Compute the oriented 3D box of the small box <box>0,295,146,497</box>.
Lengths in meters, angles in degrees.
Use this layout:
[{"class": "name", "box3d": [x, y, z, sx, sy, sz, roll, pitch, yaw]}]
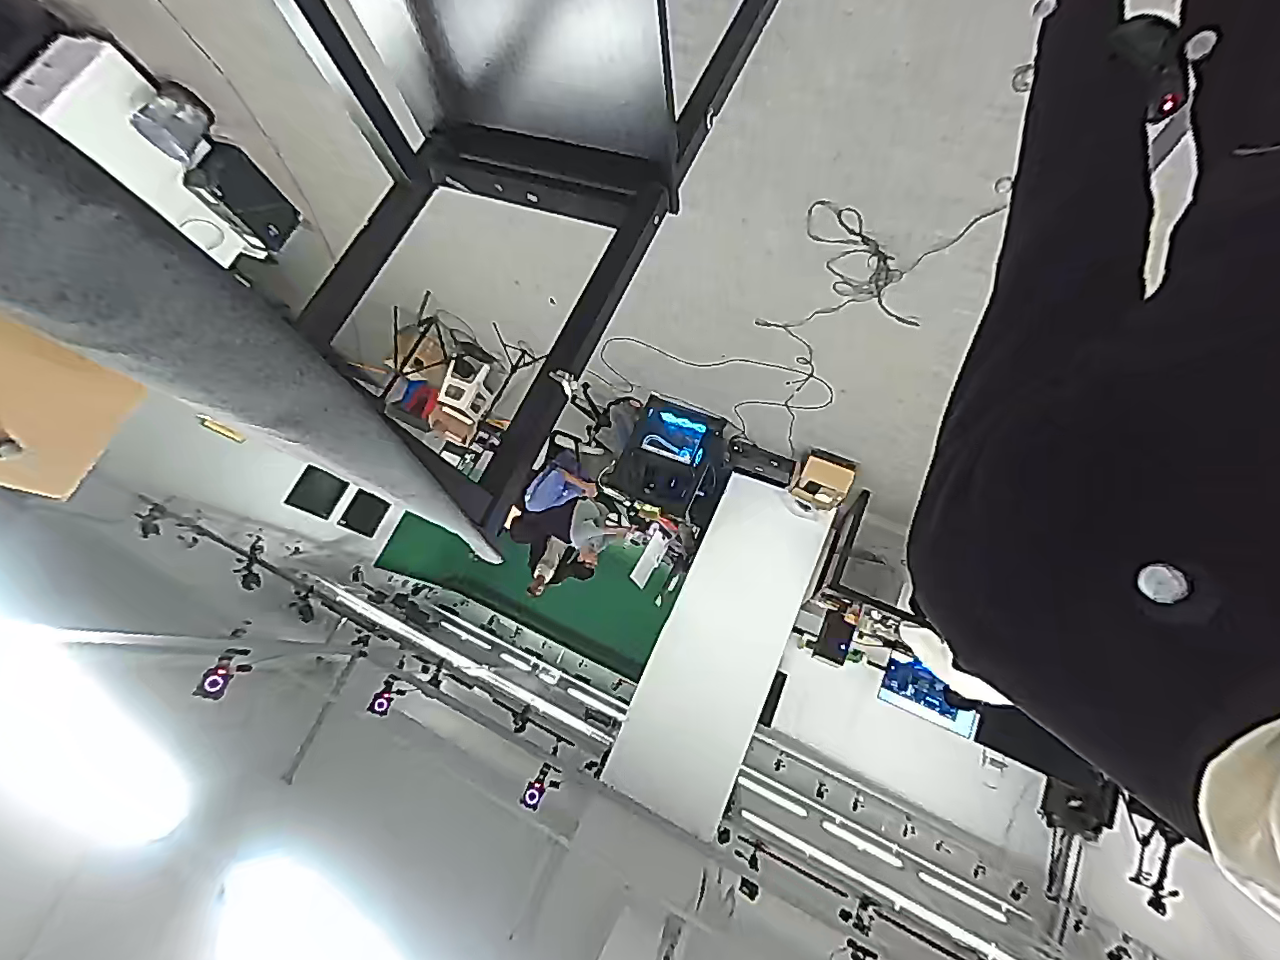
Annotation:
[{"class": "small box", "box3d": [-0.675, -0.107, 0.538, 0.168, 0.176, 0.179, 23, 166, 10]}]
